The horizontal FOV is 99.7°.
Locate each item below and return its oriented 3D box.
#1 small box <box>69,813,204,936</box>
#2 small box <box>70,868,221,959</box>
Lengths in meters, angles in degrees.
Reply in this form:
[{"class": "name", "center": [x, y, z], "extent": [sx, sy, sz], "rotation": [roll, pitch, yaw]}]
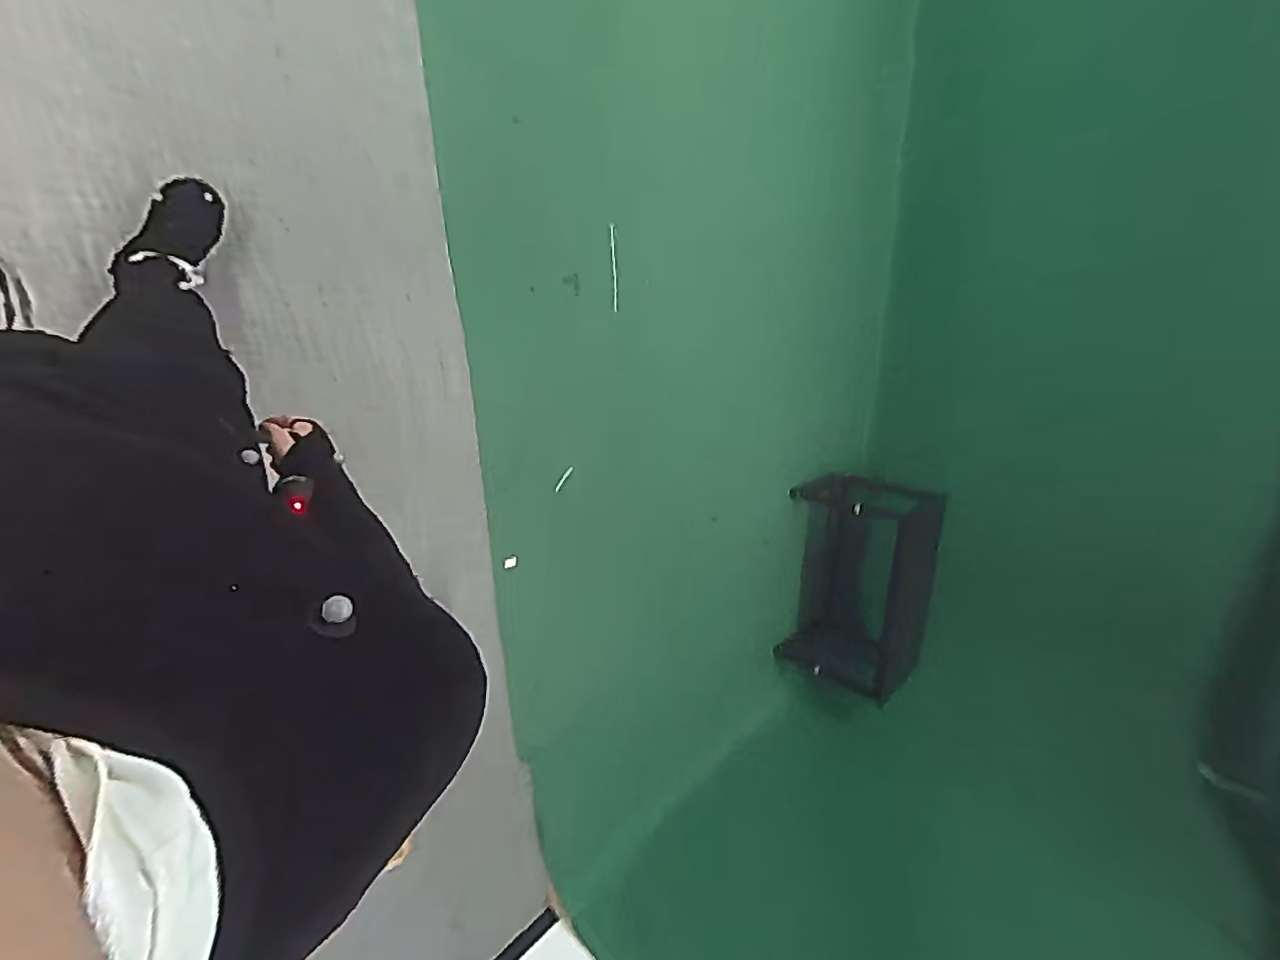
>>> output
[{"class": "small box", "center": [-0.900, 0.761, 0.981], "extent": [0.168, 0.176, 0.179], "rotation": [-14, 112, -44]}, {"class": "small box", "center": [-0.784, 0.789, 0.870], "extent": [0.168, 0.176, 0.179], "rotation": [-13, 110, -44]}]
